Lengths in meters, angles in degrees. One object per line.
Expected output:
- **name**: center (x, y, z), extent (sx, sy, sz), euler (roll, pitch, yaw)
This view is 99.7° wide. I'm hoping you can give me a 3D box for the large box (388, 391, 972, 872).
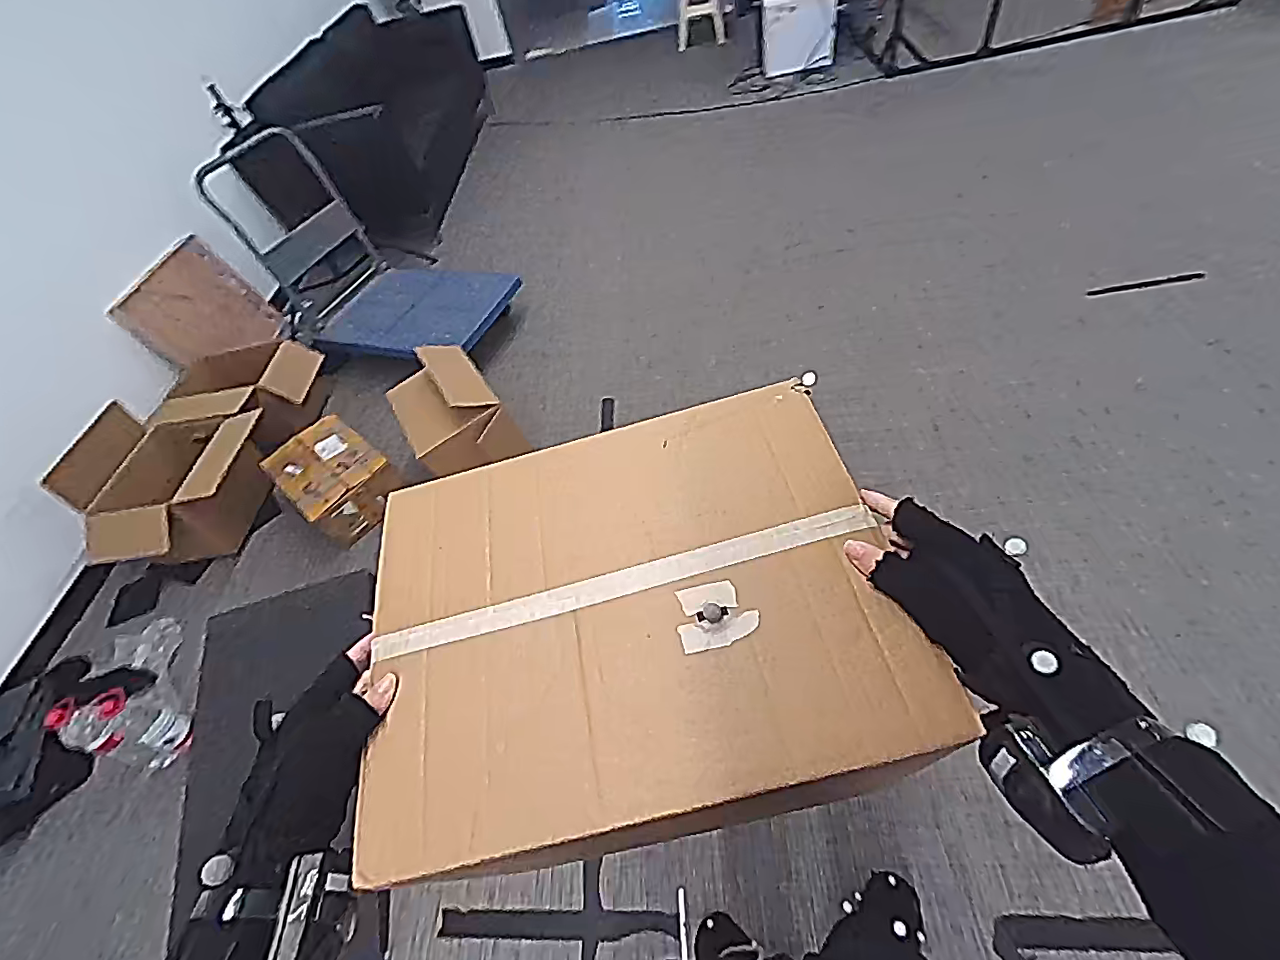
- **large box**: center (0.020, 0.168, 0.556), extent (0.408, 0.320, 0.320), euler (-15, 55, 2)
